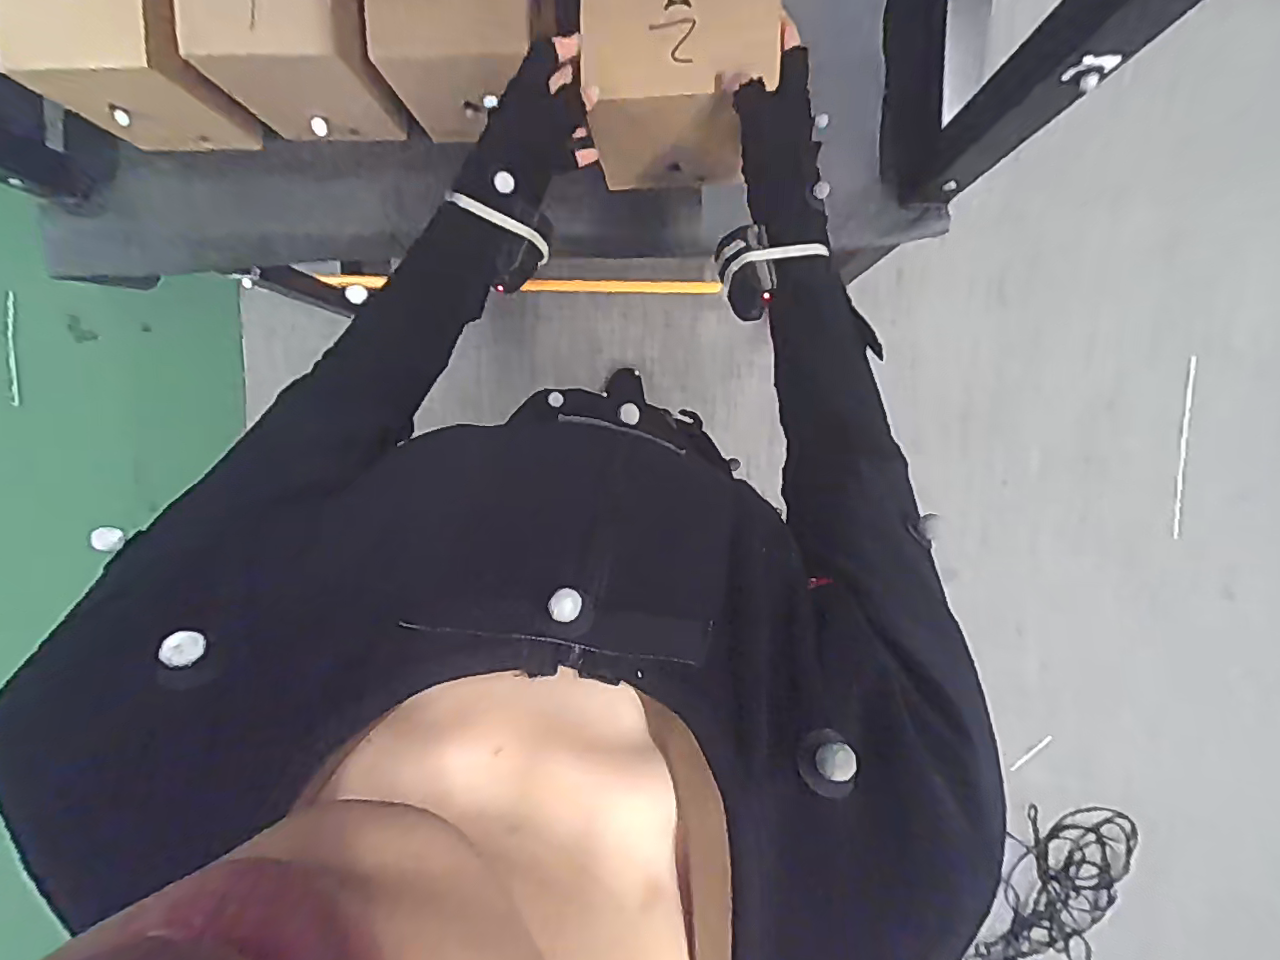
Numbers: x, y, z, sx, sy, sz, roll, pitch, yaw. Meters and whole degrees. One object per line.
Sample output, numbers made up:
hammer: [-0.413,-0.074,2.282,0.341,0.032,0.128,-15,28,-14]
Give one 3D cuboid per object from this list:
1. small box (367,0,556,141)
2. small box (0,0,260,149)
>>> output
small box: [-0.189,-0.516,0.615,0.168,0.176,0.179,1,95,0]
small box: [-0.579,-0.514,0.629,0.168,0.176,0.179,0,94,2]
